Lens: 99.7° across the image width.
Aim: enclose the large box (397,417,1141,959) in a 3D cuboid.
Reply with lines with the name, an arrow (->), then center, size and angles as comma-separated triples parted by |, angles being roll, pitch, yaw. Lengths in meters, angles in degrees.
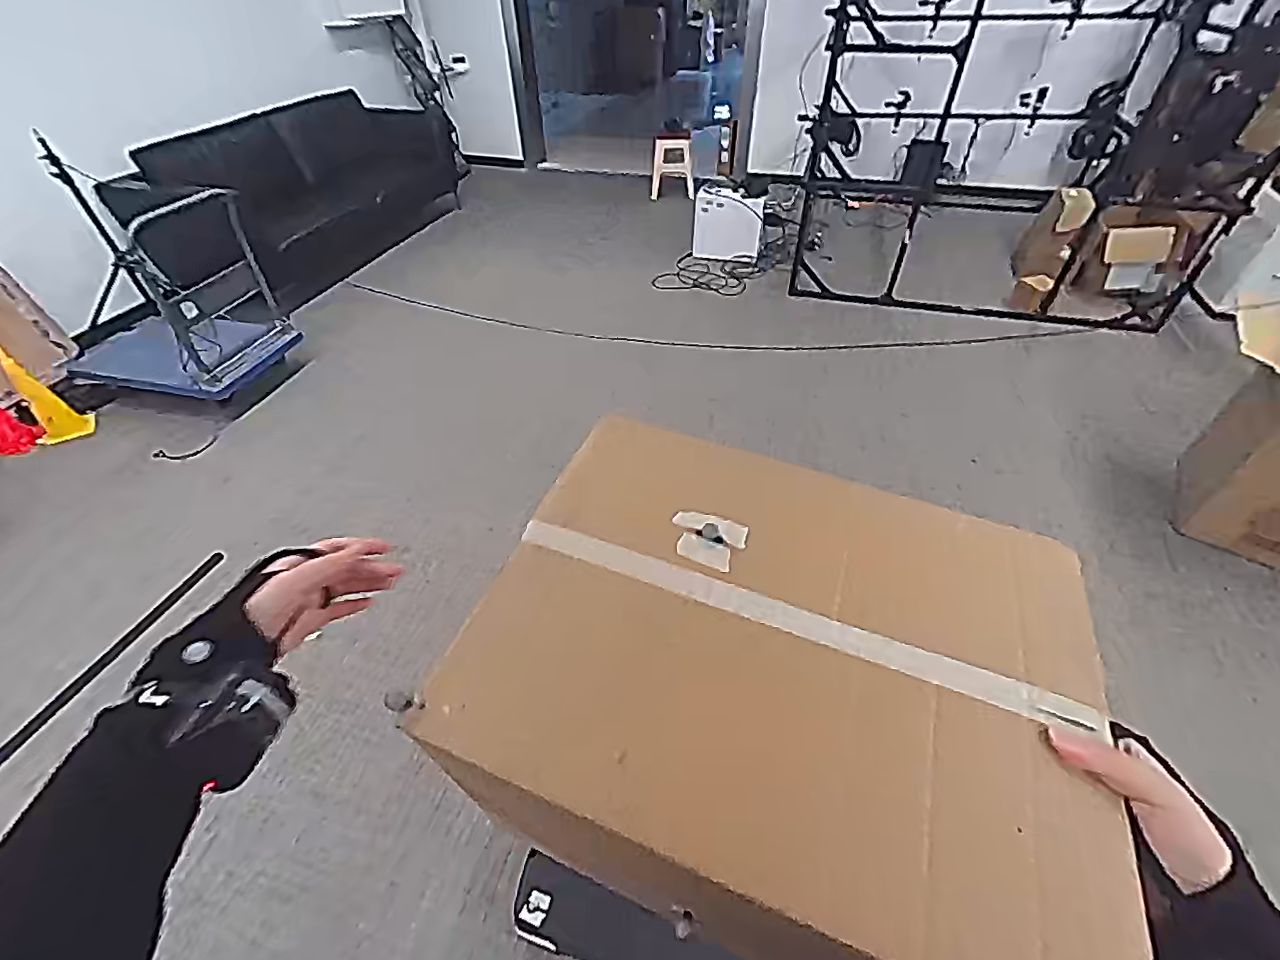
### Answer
large box -> 0.093, 0.197, 0.478 | 0.408, 0.320, 0.320 | 17, 50, 15
